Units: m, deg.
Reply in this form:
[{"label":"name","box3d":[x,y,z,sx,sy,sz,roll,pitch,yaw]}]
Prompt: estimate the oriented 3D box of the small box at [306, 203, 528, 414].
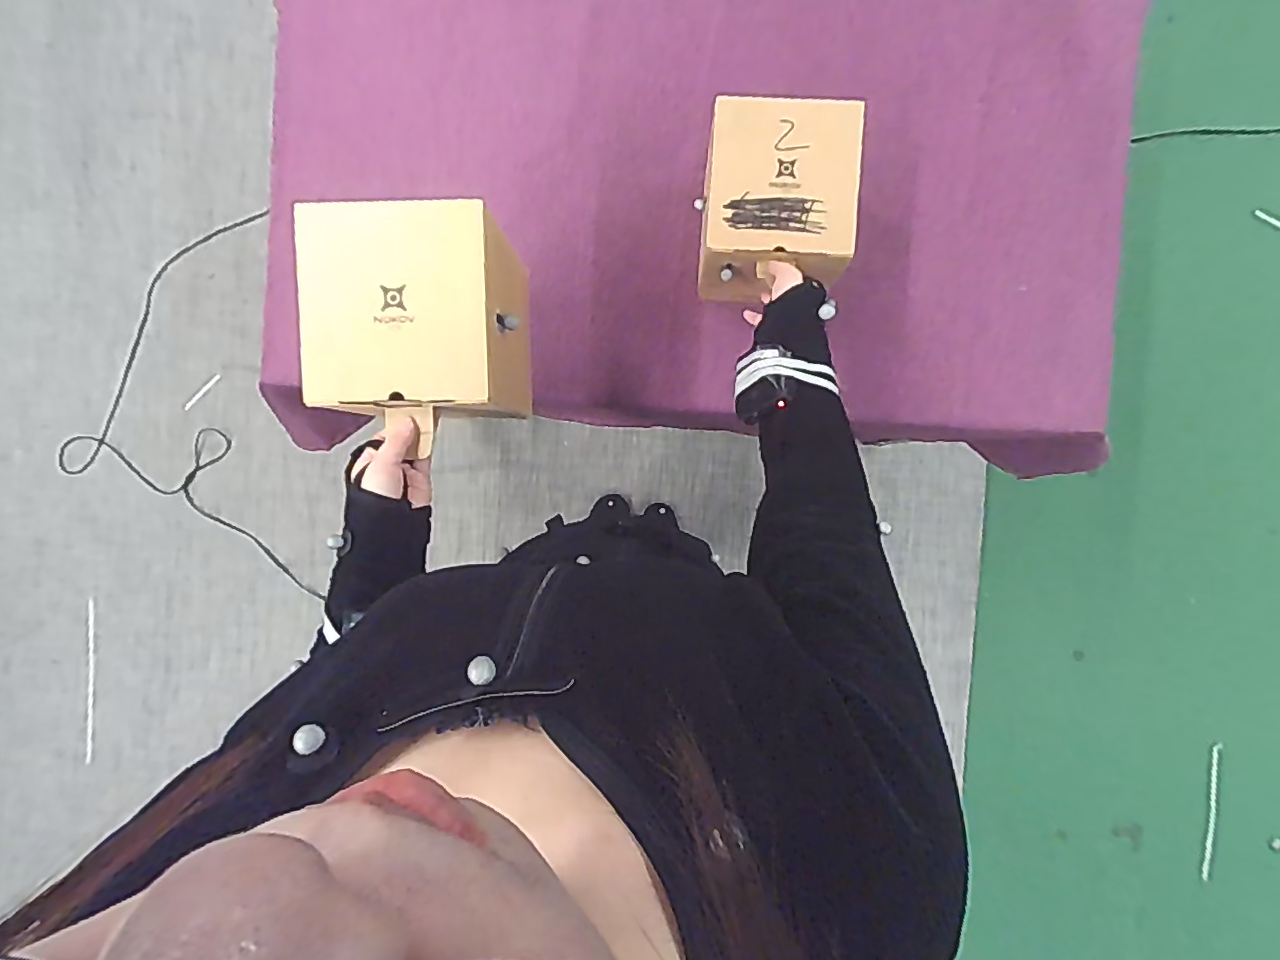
[{"label":"small box","box3d":[-0.216,-0.163,0.564,0.168,0.176,0.179,-1,93,1]}]
